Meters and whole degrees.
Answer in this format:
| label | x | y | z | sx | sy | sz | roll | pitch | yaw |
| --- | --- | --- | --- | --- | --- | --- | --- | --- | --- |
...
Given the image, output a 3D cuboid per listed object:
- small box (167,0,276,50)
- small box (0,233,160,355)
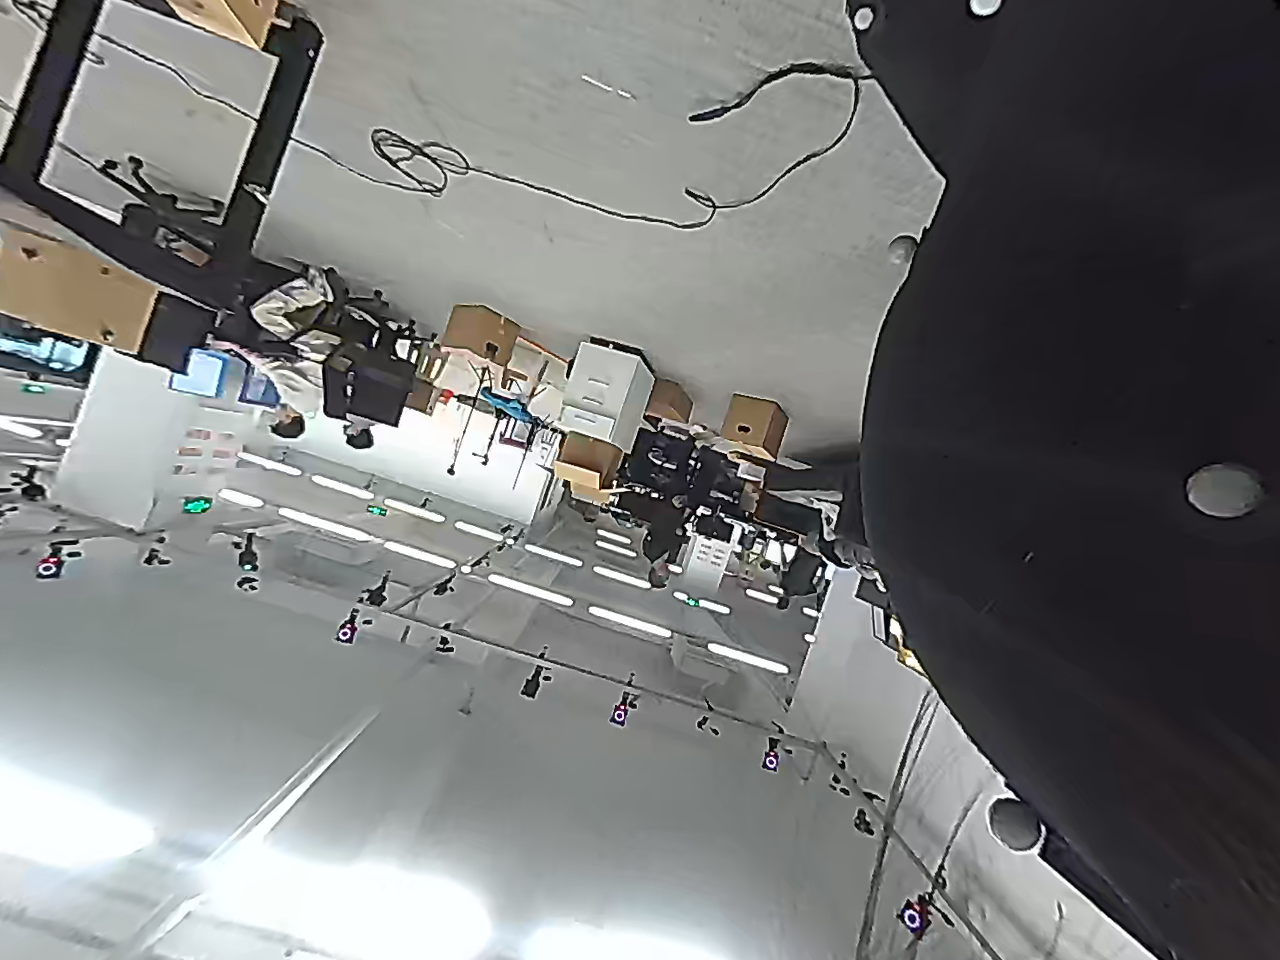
| label | x | y | z | sx | sy | sz | roll | pitch | yaw |
| --- | --- | --- | --- | --- | --- | --- | --- | --- | --- |
| small box | -0.891 | -1.065 | 1.124 | 0.179 | 0.176 | 0.168 | 19 | 179 | -8 |
| small box | -1.155 | -0.382 | 1.116 | 0.179 | 0.176 | 0.168 | 18 | 179 | 9 |
